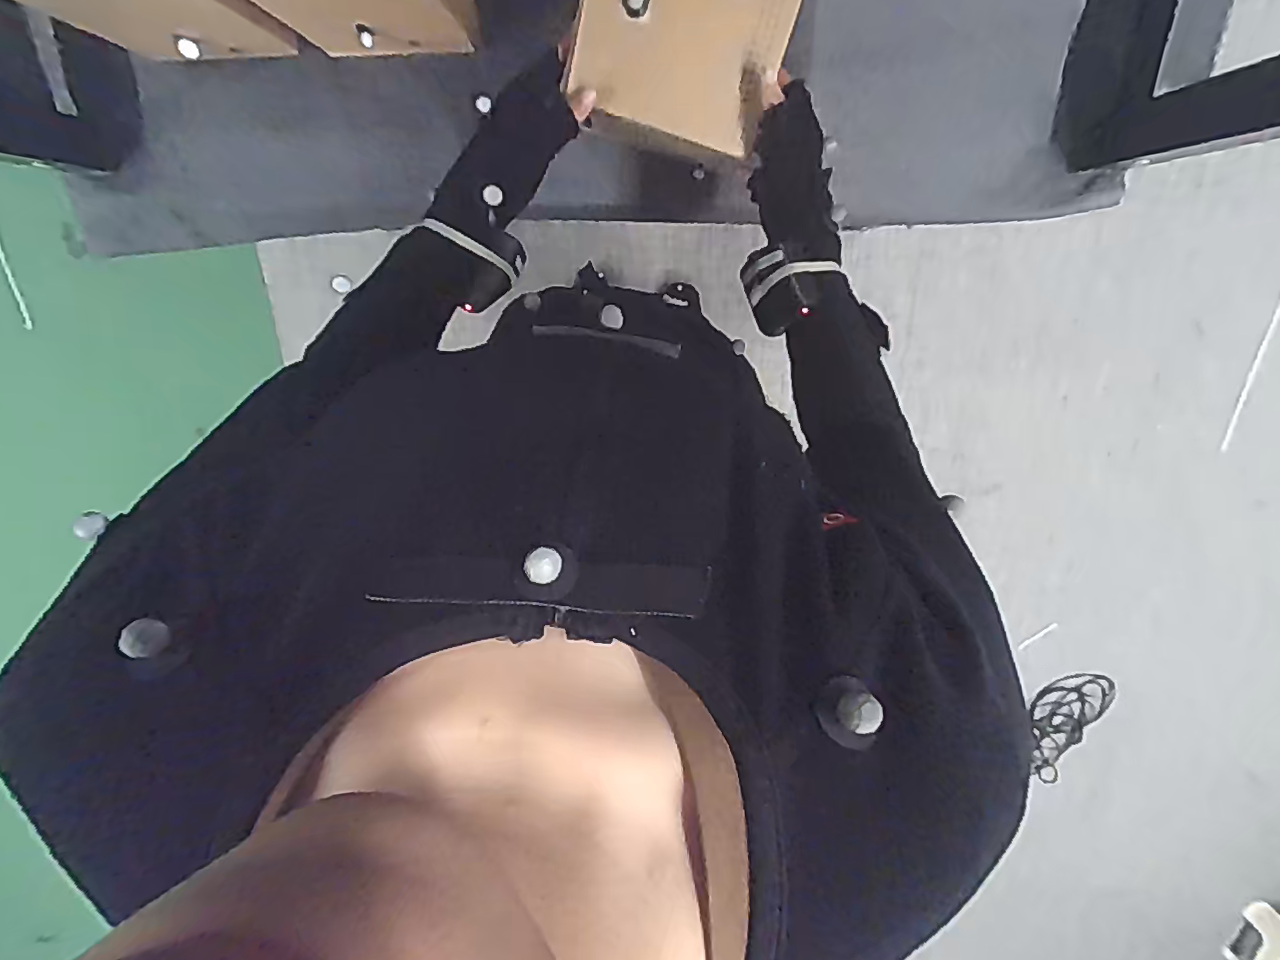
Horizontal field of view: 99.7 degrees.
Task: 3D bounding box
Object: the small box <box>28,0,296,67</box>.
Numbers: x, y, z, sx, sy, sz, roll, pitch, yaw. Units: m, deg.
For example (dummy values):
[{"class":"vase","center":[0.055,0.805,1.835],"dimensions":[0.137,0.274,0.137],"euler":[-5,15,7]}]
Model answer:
[{"class":"small box","center":[-0.450,-0.504,0.479],"dimensions":[0.168,0.176,0.179],"euler":[-1,110,2]}]
